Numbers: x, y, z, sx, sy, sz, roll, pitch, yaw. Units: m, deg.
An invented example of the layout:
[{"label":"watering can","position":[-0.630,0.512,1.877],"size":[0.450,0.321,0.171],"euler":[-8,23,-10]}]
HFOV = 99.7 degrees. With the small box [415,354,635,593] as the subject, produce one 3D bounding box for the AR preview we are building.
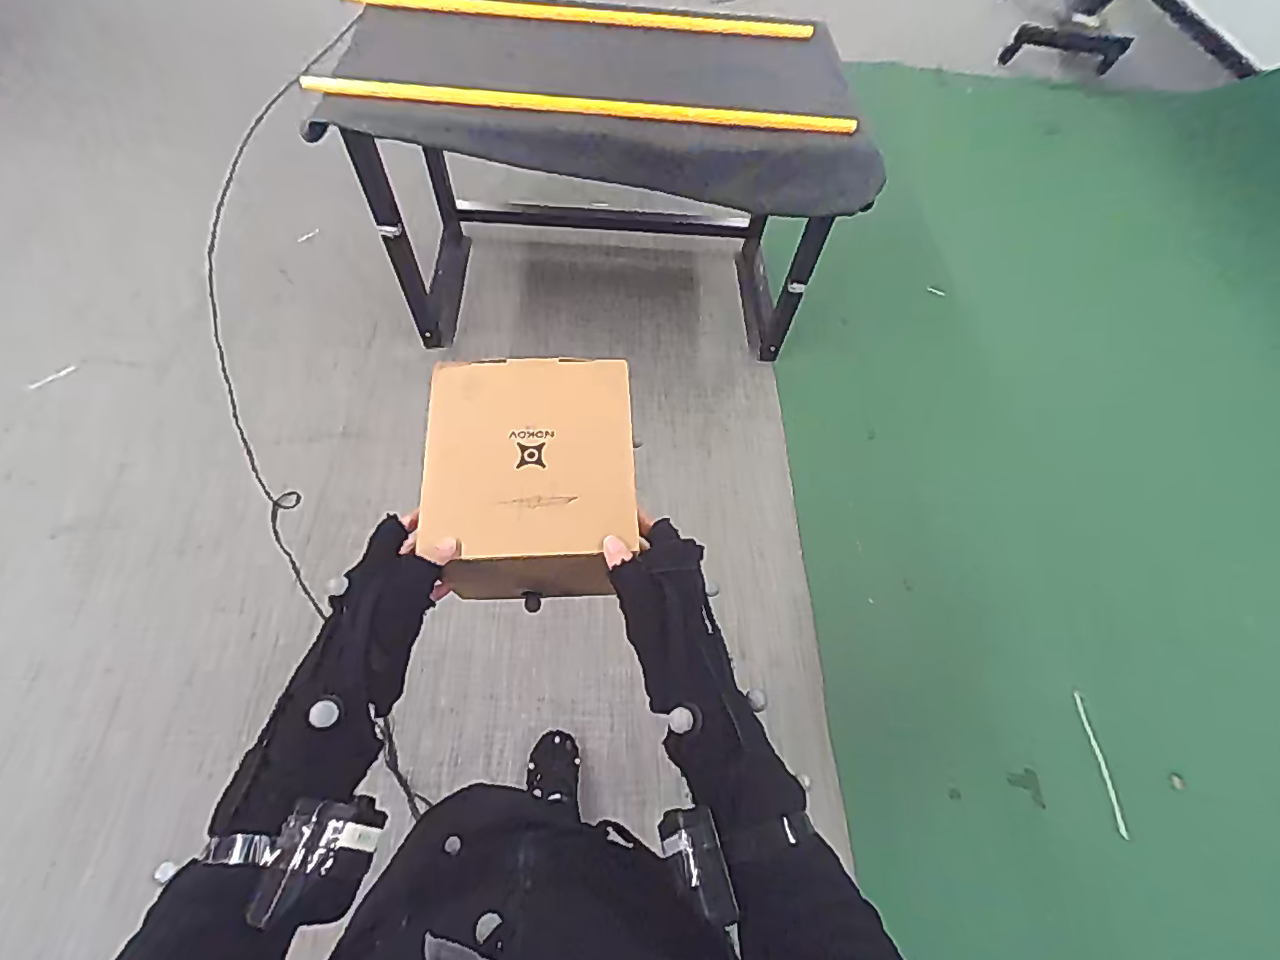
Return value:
[{"label":"small box","position":[-0.095,0.002,0.510],"size":[0.168,0.176,0.179],"euler":[-1,68,-5]}]
